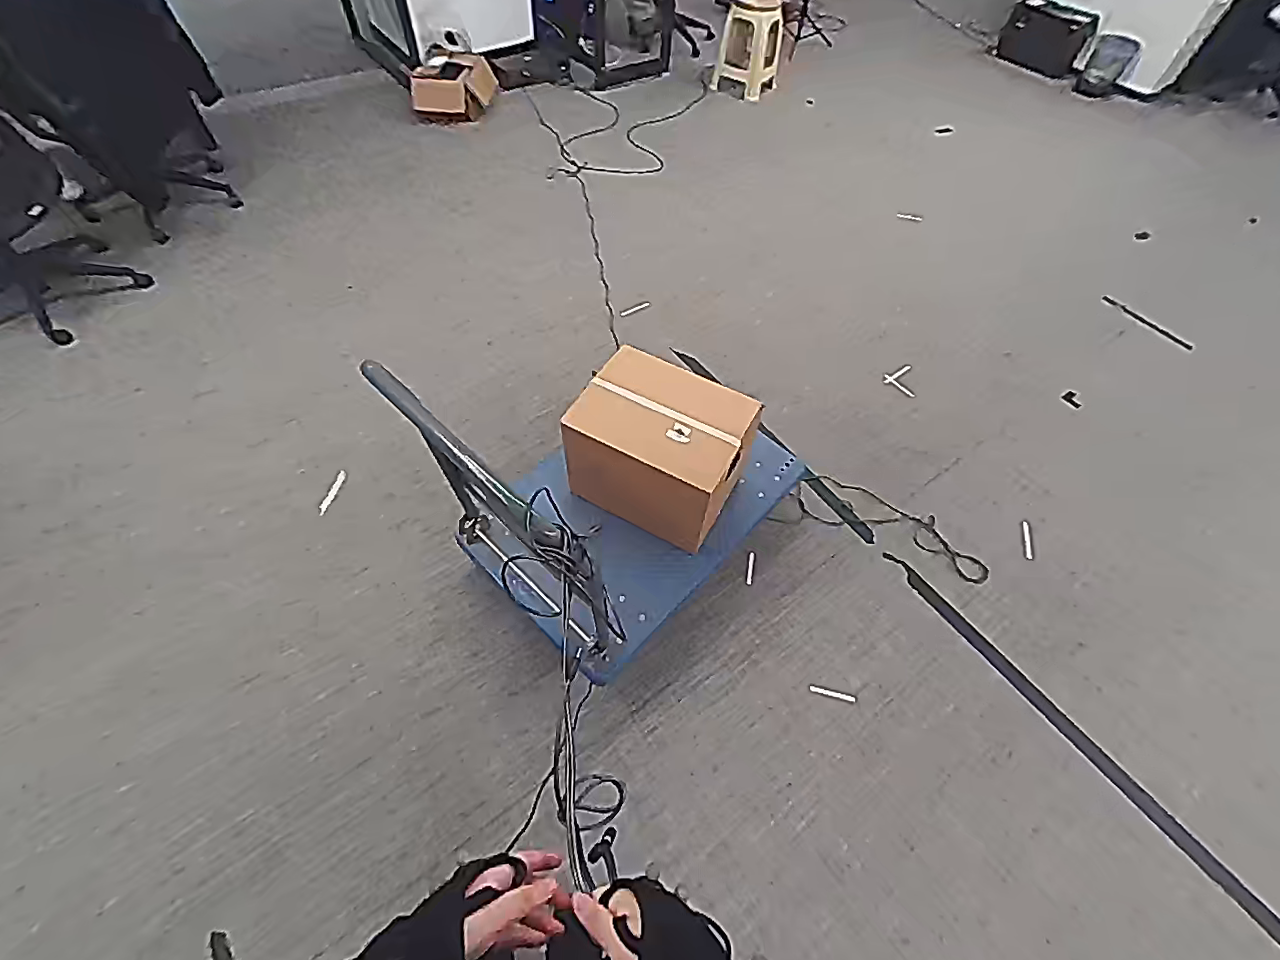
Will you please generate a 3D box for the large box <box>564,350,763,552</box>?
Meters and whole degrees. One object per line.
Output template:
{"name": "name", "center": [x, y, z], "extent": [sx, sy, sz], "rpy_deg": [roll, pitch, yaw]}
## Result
{"name": "large box", "center": [0.052, -0.075, 1.433], "extent": [0.408, 0.320, 0.320], "rpy_deg": [26, 60, 14]}
